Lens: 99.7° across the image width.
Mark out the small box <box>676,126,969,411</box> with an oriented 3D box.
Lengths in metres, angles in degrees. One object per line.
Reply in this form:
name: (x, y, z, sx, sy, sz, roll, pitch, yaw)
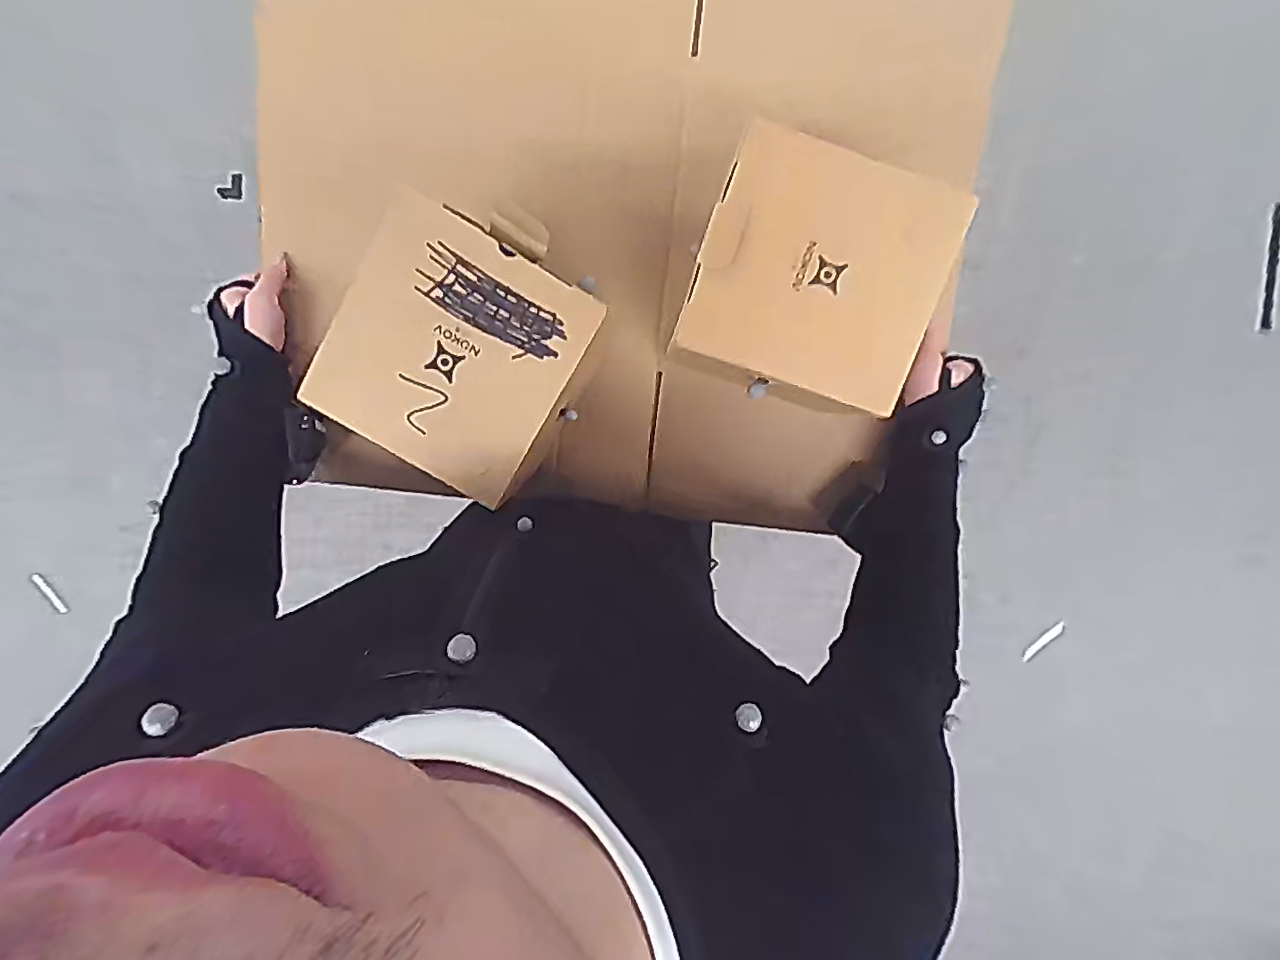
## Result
small box: (0.140, -0.170, 0.488, 0.179, 0.176, 0.168, 19, 99, 0)
